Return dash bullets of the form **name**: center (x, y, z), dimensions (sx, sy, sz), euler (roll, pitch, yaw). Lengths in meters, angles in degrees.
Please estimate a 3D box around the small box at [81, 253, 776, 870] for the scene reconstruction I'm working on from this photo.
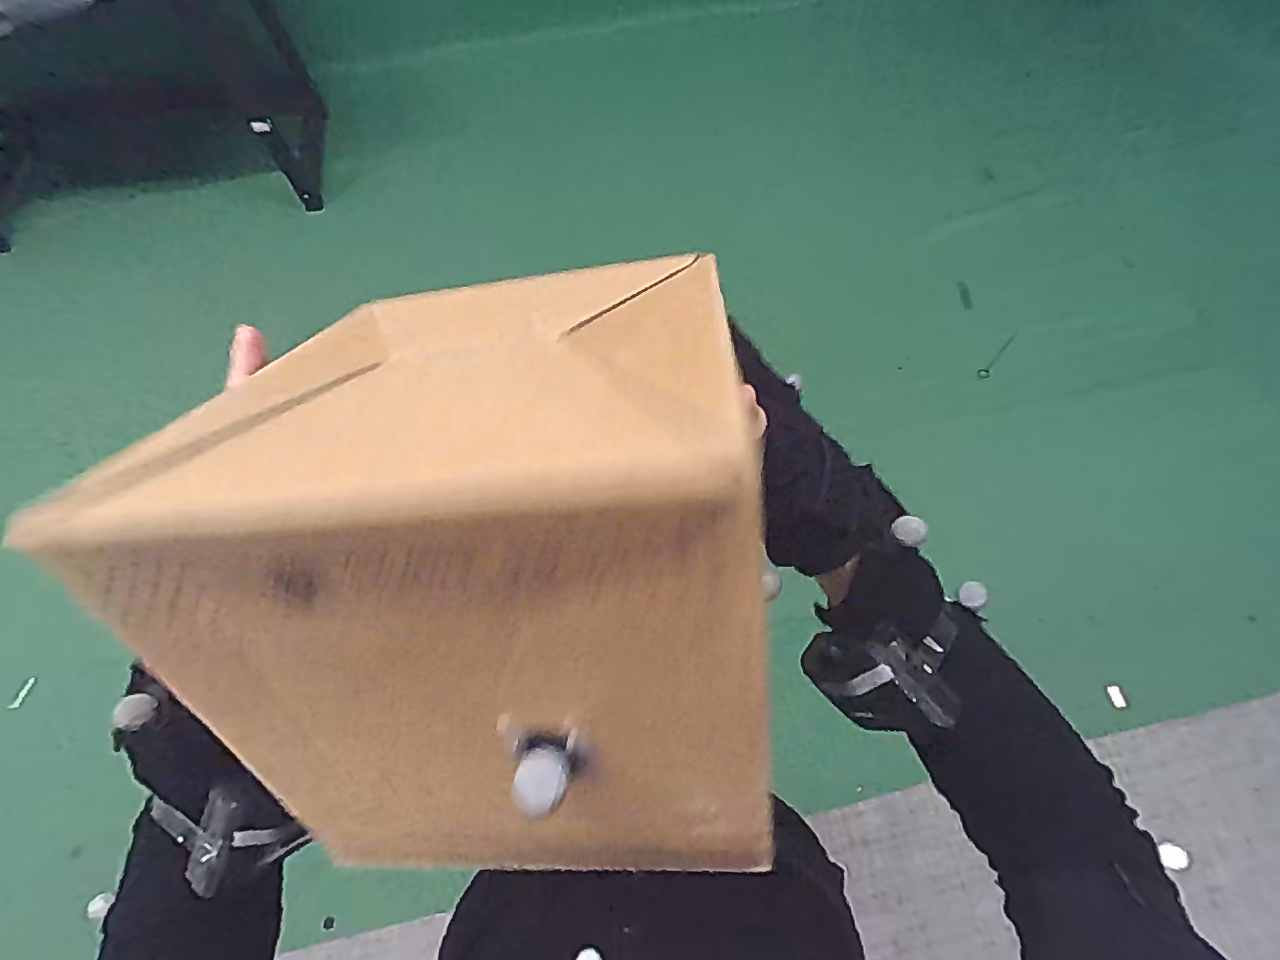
- **small box**: center (-0.039, 0.028, 0.221), dimensions (0.168, 0.176, 0.179), euler (-4, 39, 10)
